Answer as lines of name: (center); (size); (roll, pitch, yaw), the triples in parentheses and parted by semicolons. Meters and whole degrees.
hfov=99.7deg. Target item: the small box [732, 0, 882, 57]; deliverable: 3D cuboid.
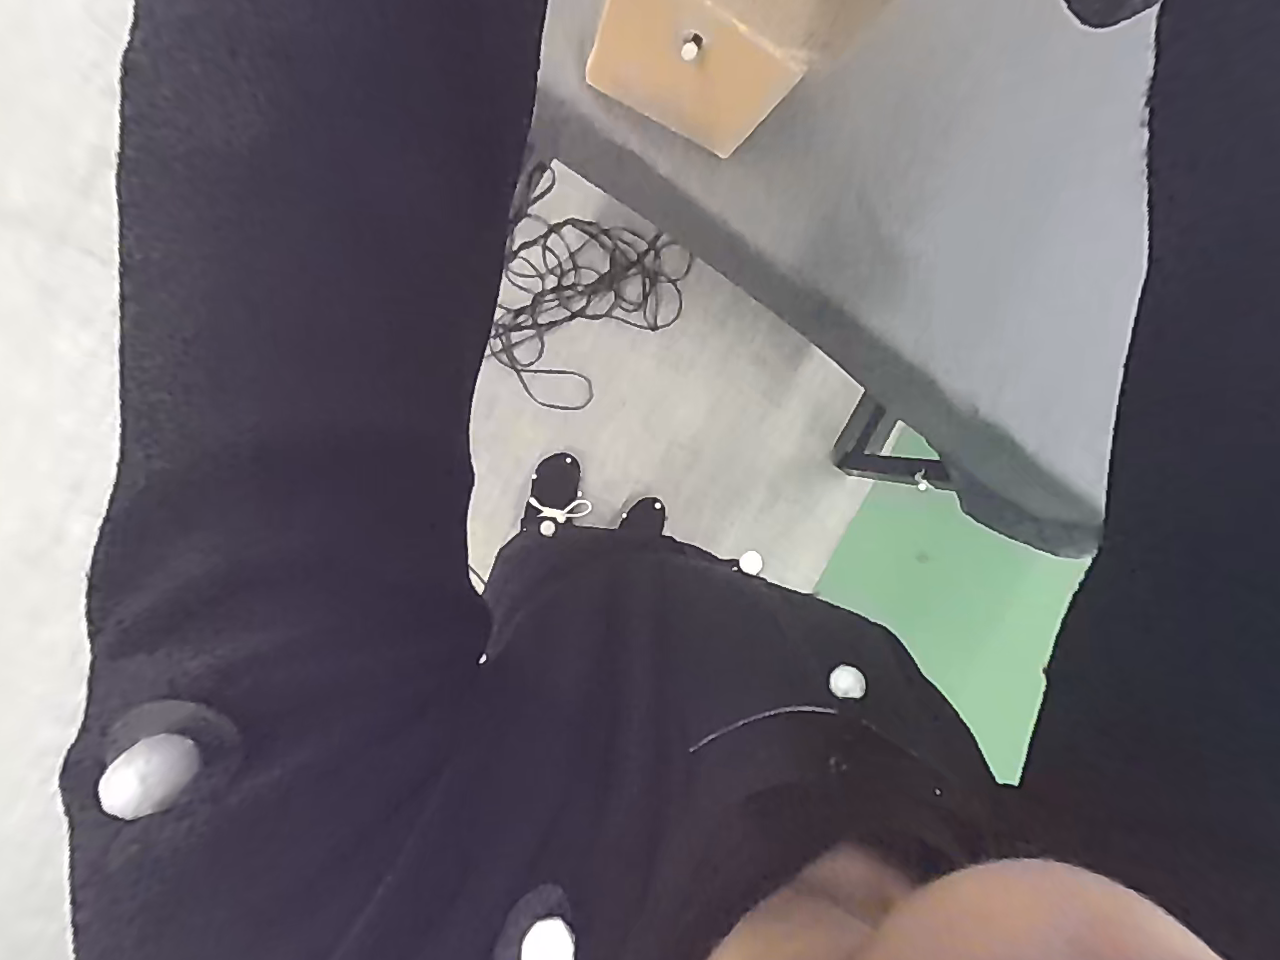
small box: (0.127, -0.440, 0.356); (0.179, 0.176, 0.168); (20, 92, -17)

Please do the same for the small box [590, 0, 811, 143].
small box: (0.069, -0.459, 0.508); (0.179, 0.176, 0.168); (19, 91, -16)
